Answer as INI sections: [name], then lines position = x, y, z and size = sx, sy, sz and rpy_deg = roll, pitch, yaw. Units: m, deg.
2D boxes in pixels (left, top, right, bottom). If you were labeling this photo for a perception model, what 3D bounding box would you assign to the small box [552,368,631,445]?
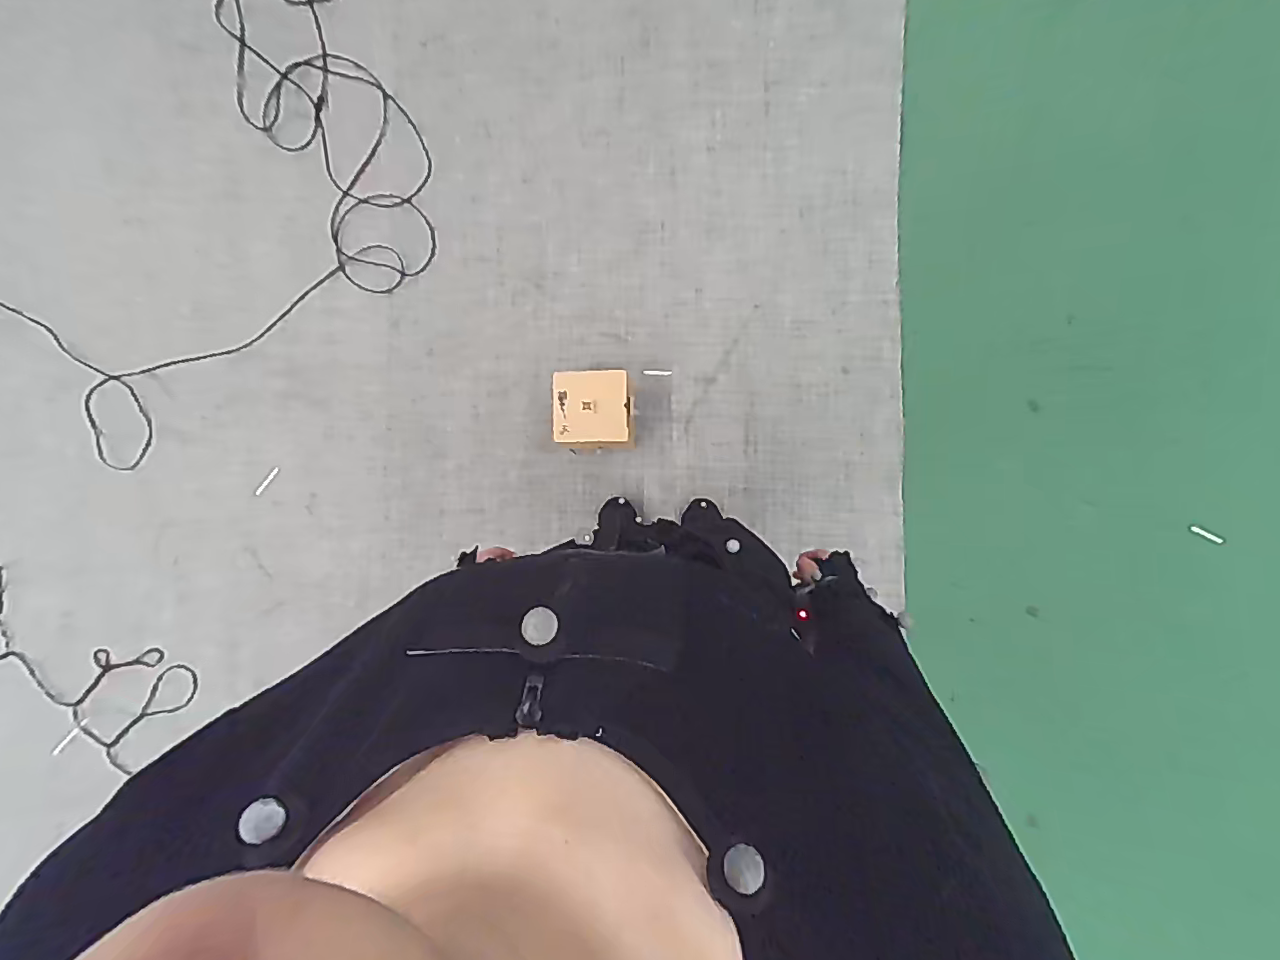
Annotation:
[small box]
position = -0.112, -0.175, 1.319
size = 0.179, 0.176, 0.168
rpy_deg = -1, 89, 4
